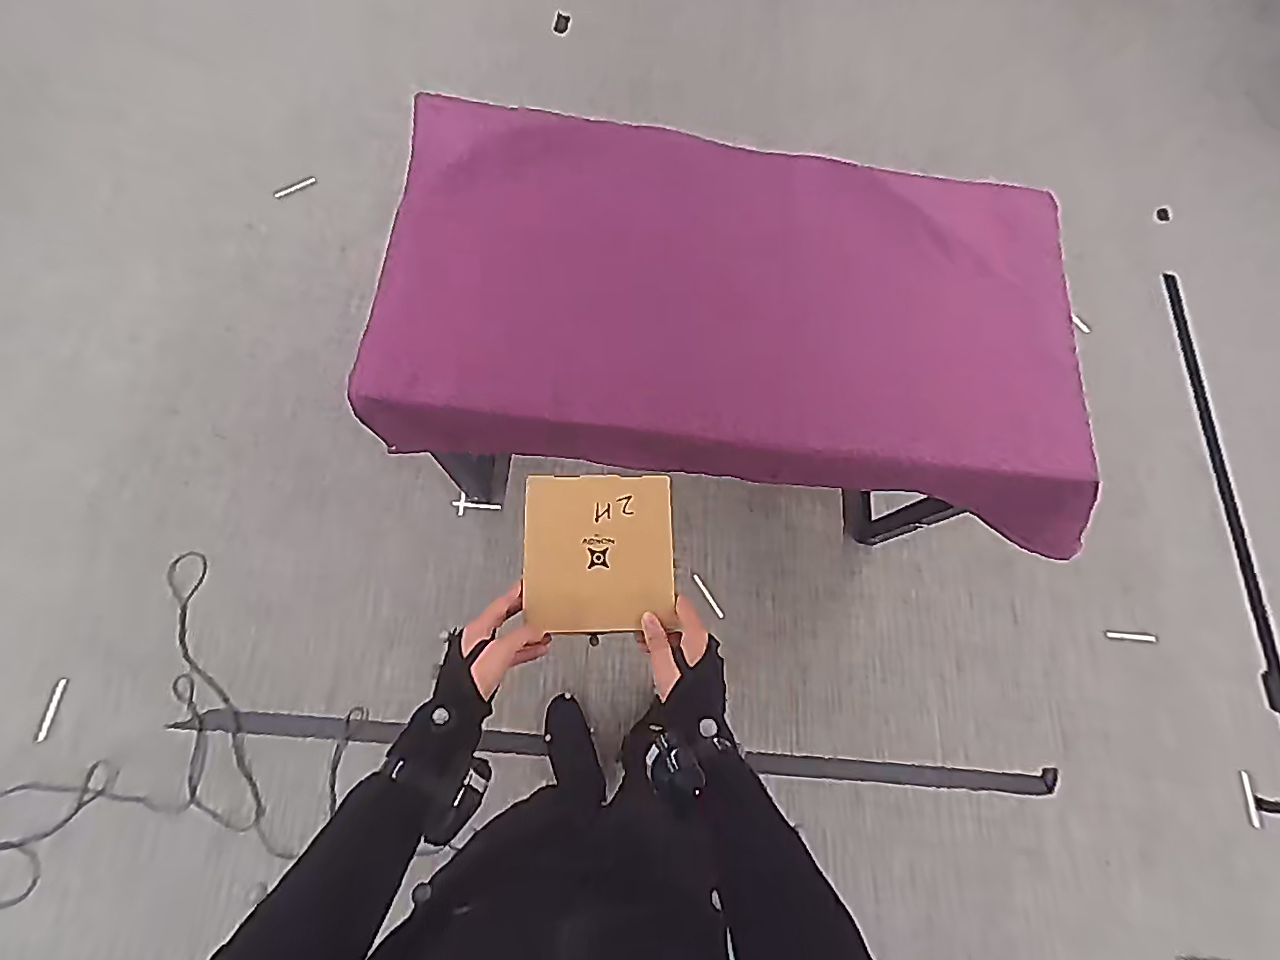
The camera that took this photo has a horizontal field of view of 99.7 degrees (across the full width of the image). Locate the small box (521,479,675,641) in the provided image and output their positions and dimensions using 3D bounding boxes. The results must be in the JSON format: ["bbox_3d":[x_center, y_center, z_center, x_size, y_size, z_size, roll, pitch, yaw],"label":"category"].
[{"bbox_3d":[-0.050,0.104,0.666,0.168,0.176,0.179,0,74,-6],"label":"small box"}]
